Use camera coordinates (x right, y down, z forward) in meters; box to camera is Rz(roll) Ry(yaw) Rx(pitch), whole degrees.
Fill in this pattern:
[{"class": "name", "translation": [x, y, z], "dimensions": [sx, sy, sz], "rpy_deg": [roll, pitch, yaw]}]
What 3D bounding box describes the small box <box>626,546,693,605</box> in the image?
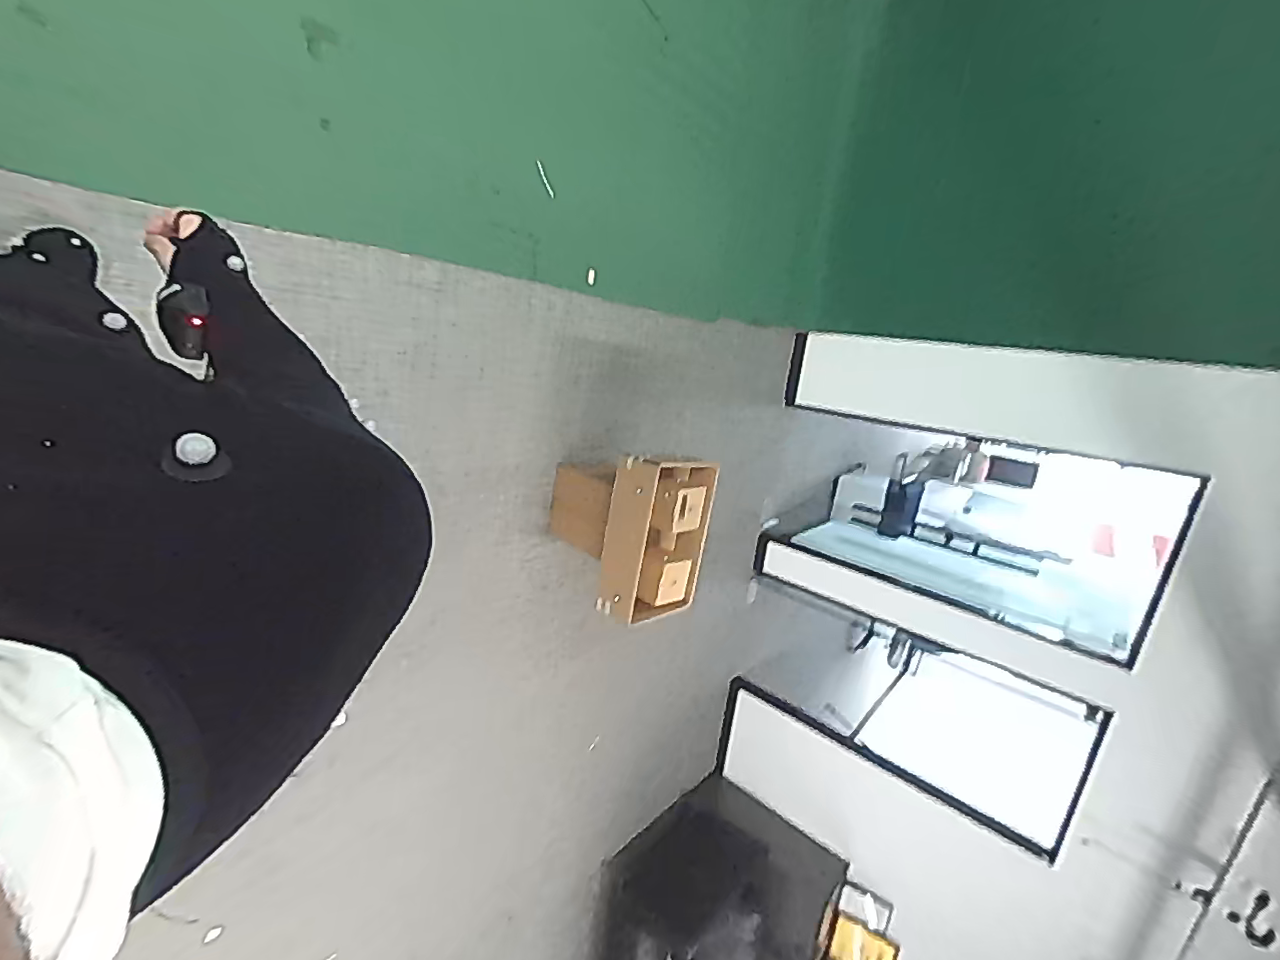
[{"class": "small box", "translation": [0.074, 0.362, 2.092], "dimensions": [0.179, 0.176, 0.168], "rpy_deg": [0, 104, -49]}]
